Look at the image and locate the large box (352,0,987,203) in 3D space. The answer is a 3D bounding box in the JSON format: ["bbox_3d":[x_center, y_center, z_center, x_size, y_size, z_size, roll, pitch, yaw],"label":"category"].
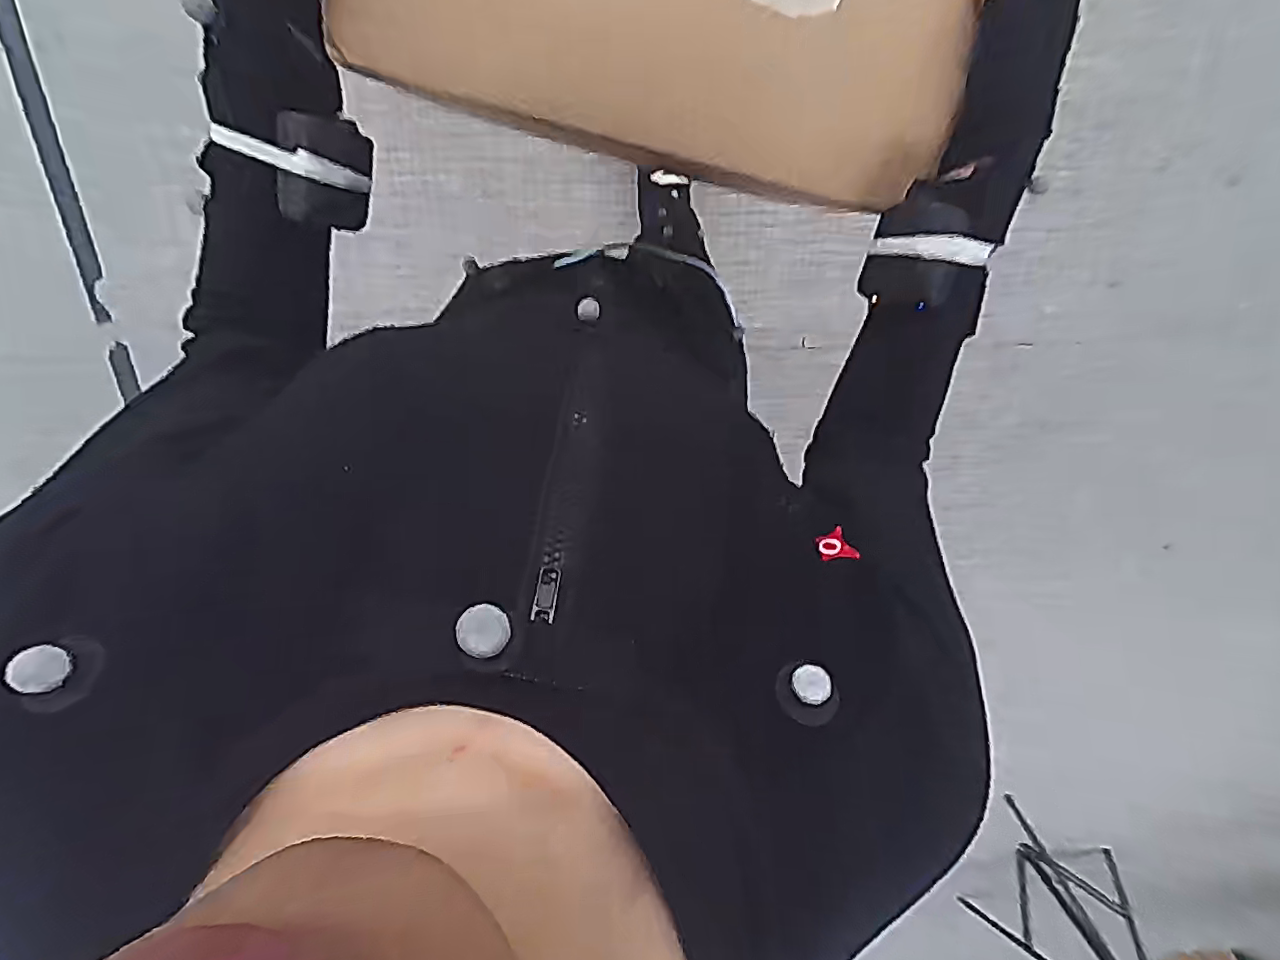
[{"bbox_3d":[0.028,-0.441,0.436,0.408,0.320,0.320,9,119,-10],"label":"large box"}]
